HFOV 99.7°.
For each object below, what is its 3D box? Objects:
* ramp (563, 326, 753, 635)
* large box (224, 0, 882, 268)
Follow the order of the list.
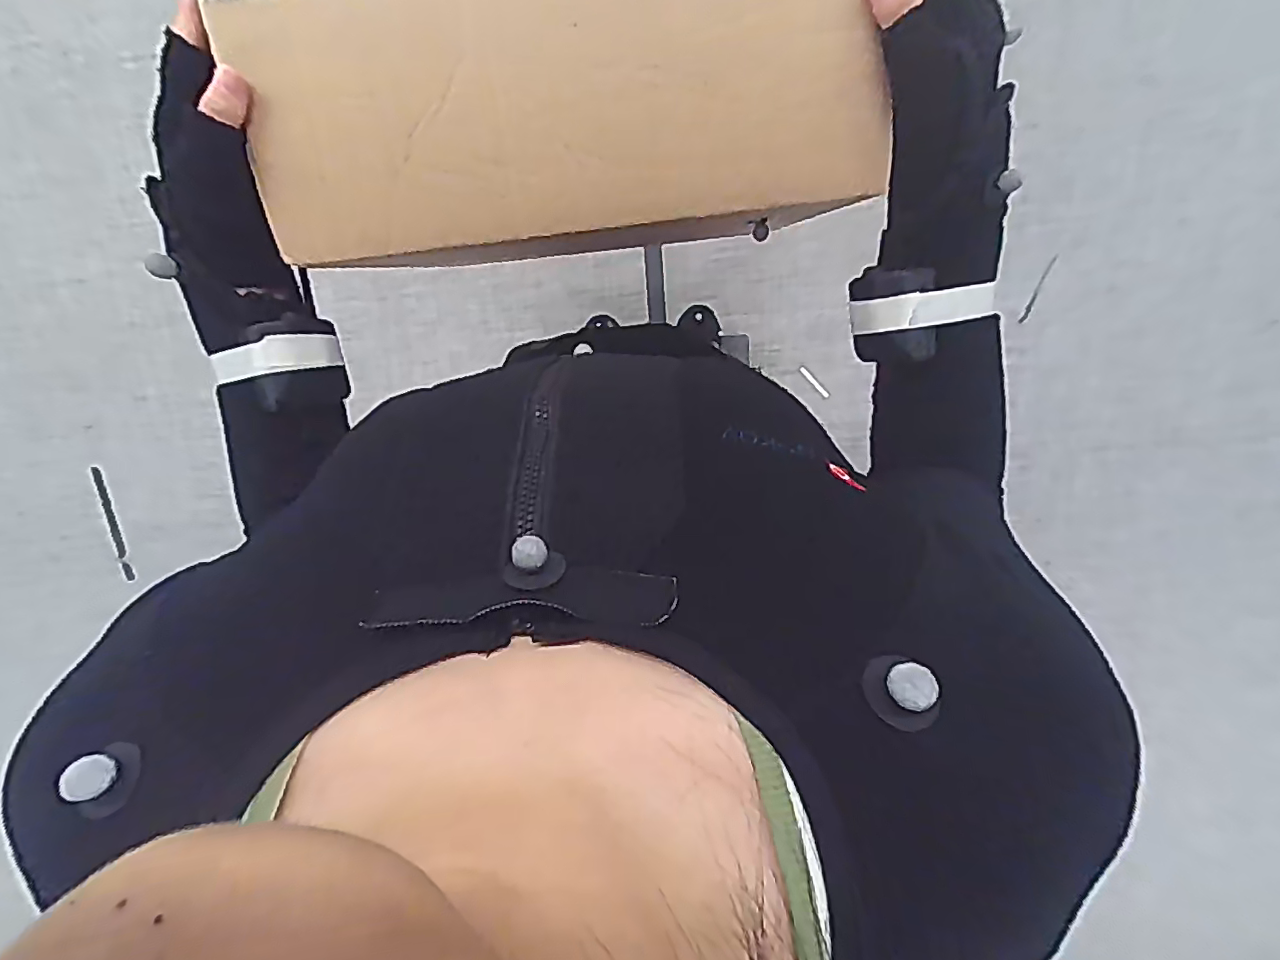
[{"bbox_3d":[0.090,0.065,1.621,0.509,0.206,0.991,-6,106,3],"label":"ramp"},{"bbox_3d":[-0.053,-0.369,0.454,0.408,0.320,0.320,-5,111,4],"label":"large box"}]
